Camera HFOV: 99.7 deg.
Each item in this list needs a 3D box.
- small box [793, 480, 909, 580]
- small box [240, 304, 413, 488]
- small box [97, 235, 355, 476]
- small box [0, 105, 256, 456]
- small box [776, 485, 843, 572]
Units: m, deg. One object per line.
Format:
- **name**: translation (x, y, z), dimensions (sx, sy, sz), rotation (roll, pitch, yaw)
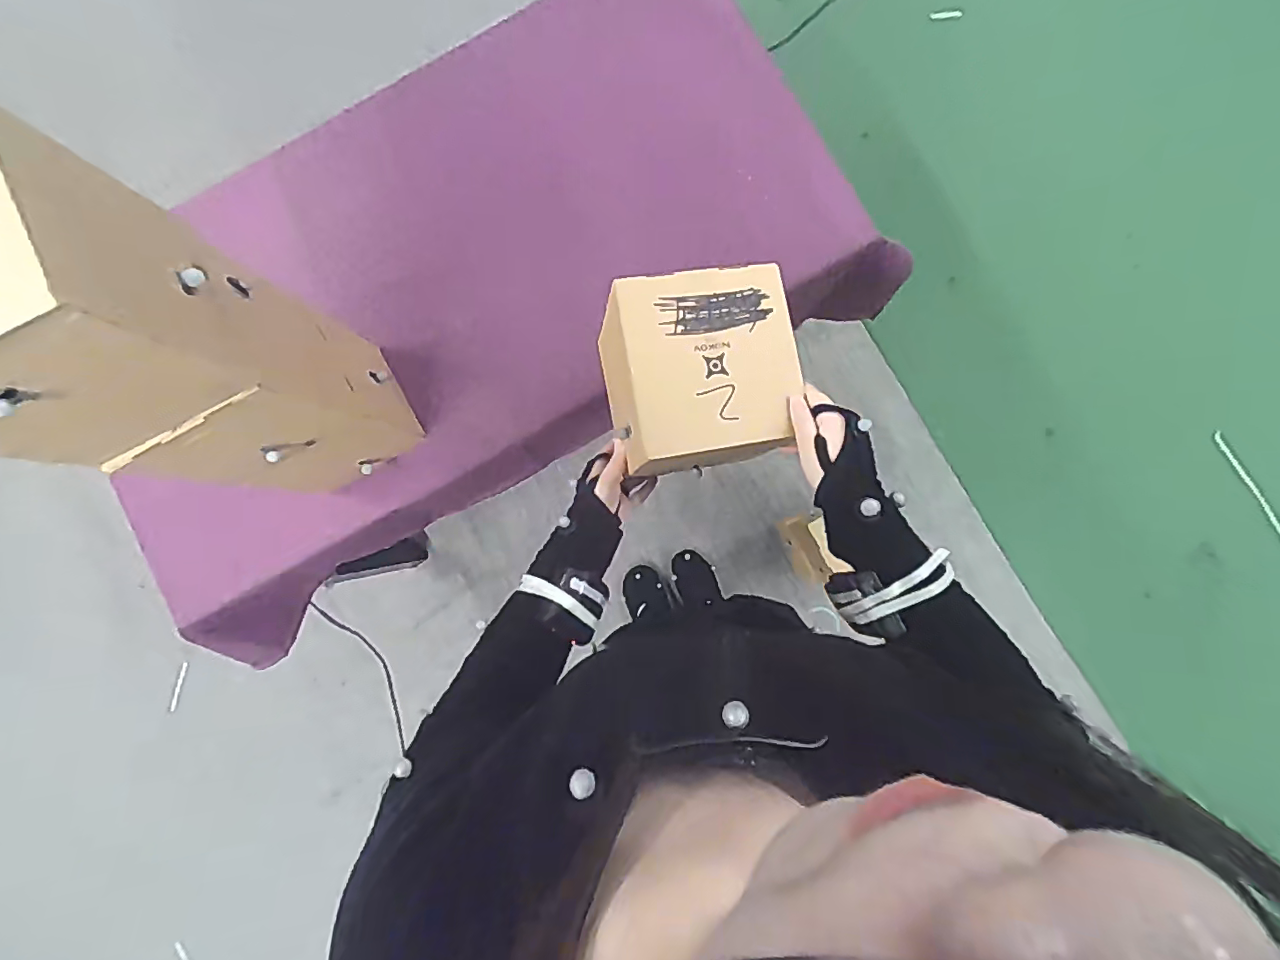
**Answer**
- **small box**: translation (0.475, 0.115, 1.256), dimensions (0.179, 0.176, 0.168), rotation (-28, 87, 0)
- **small box**: translation (-0.441, -0.102, 0.741), dimensions (0.179, 0.176, 0.168), rotation (-31, 85, 0)
- **small box**: translation (-0.450, -0.118, 0.576), dimensions (0.168, 0.176, 0.179), rotation (-29, 86, 1)
- **small box**: translation (-0.454, -0.131, 0.412), dimensions (0.179, 0.176, 0.168), rotation (-28, 86, 0)
- **small box**: translation (0.473, 0.127, 1.419), dimensions (0.179, 0.176, 0.168), rotation (-25, 86, 0)
